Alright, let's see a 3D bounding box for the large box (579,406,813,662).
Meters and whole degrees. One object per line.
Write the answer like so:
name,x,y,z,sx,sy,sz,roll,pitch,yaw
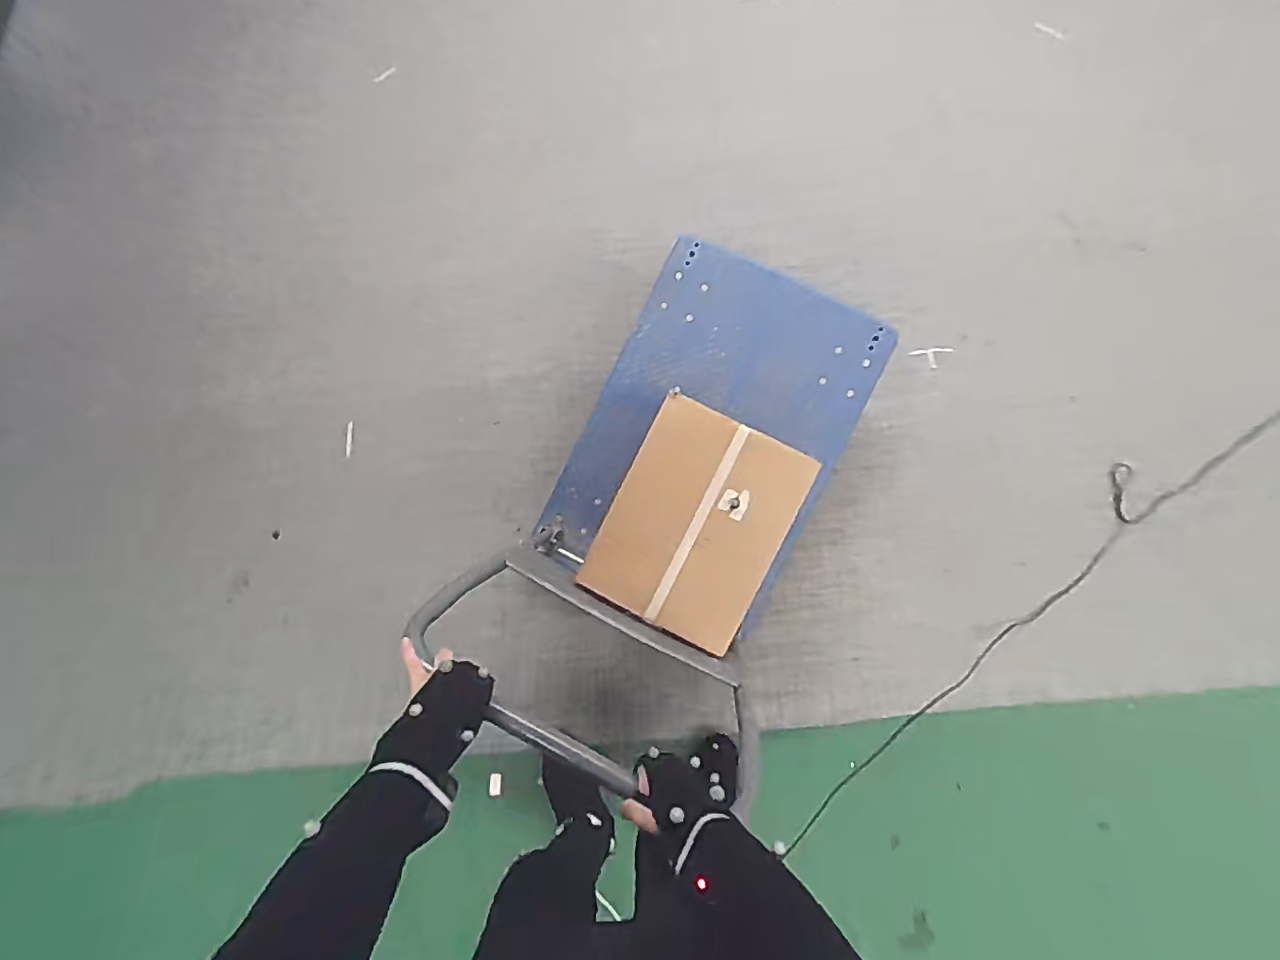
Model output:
large box,0.116,0.108,1.170,0.320,0.320,0.408,28,90,5
